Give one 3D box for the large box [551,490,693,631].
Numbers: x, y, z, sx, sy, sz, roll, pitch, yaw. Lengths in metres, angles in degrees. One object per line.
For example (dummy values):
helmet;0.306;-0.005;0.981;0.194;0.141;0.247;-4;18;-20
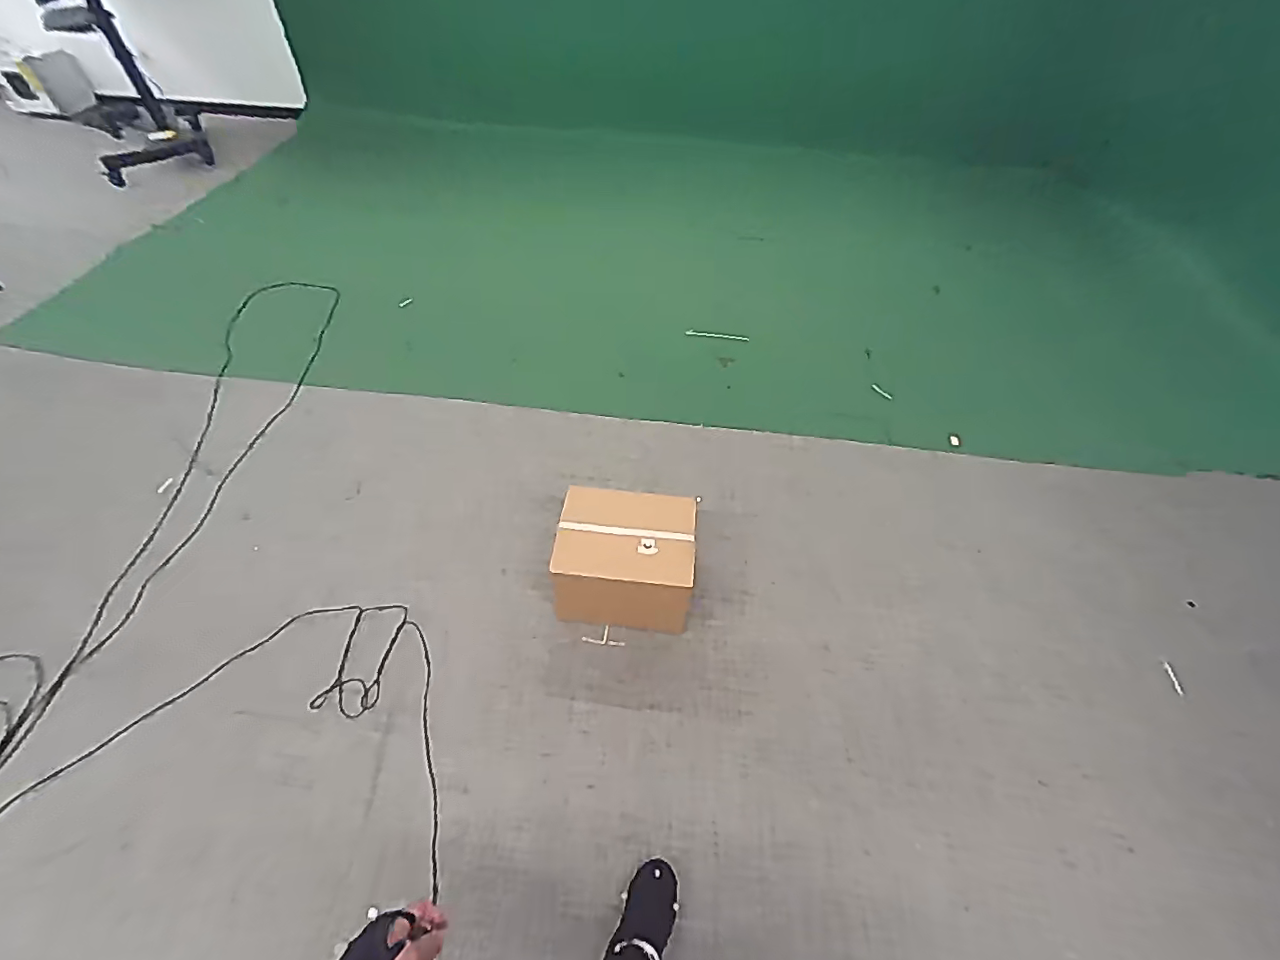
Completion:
large box;-0.050;0.258;1.708;0.408;0.320;0.320;5;50;1
